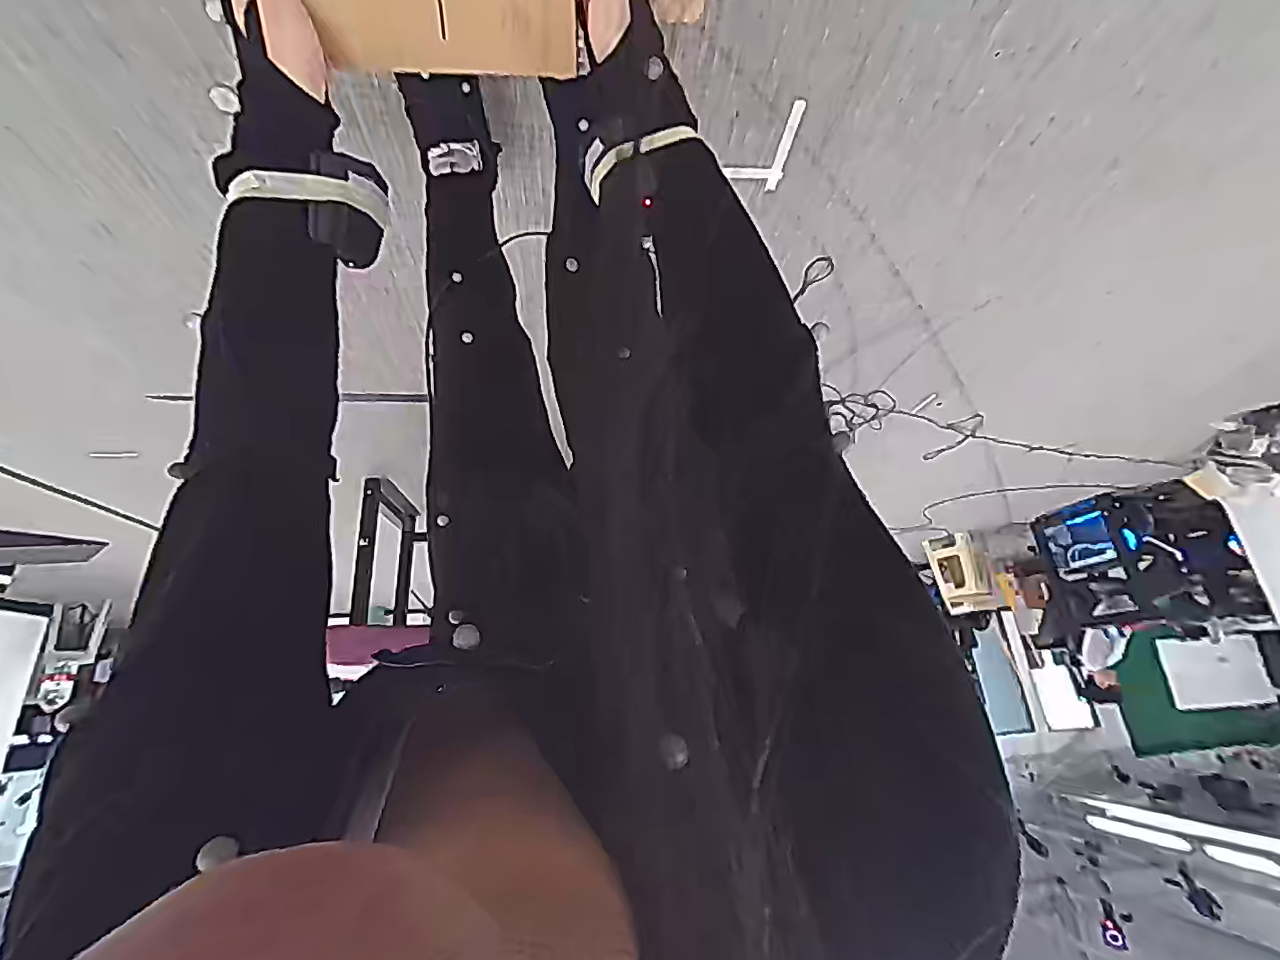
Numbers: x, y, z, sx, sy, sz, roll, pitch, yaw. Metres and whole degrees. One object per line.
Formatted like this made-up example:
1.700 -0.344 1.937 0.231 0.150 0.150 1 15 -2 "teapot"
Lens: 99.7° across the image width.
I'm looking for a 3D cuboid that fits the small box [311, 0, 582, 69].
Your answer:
-0.120 -0.391 0.322 0.168 0.176 0.179 -1 156 -4 "small box"
